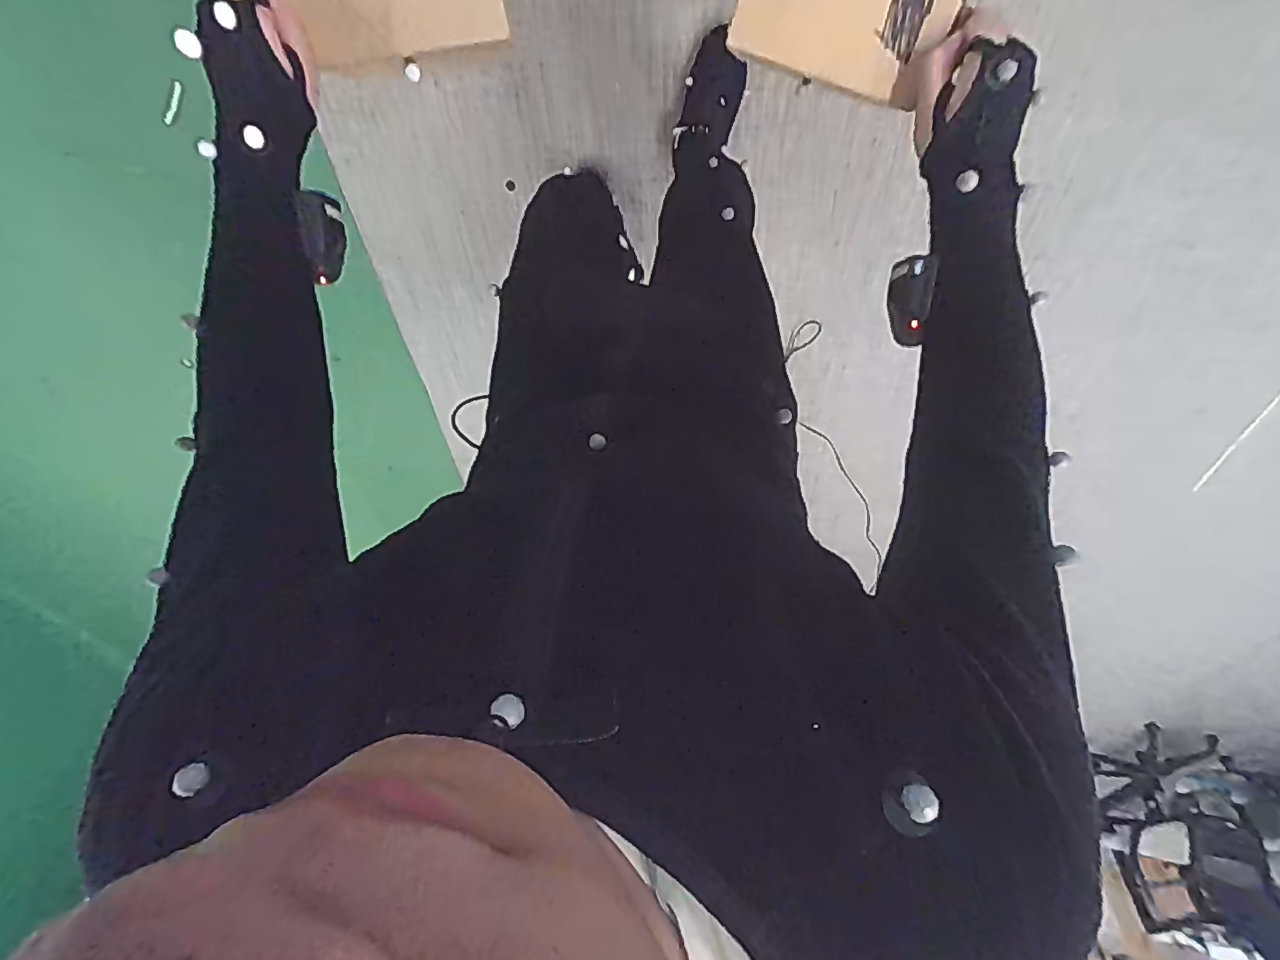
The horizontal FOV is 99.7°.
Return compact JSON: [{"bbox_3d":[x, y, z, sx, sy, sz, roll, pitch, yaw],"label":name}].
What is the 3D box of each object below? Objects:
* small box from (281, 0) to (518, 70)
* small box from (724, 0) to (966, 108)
[{"bbox_3d":[-0.215,-0.478,0.475,0.179,0.176,0.168,-9,124,-2],"label":"small box"},{"bbox_3d":[0.189,-0.452,0.473,0.179,0.176,0.168,20,126,0],"label":"small box"}]
